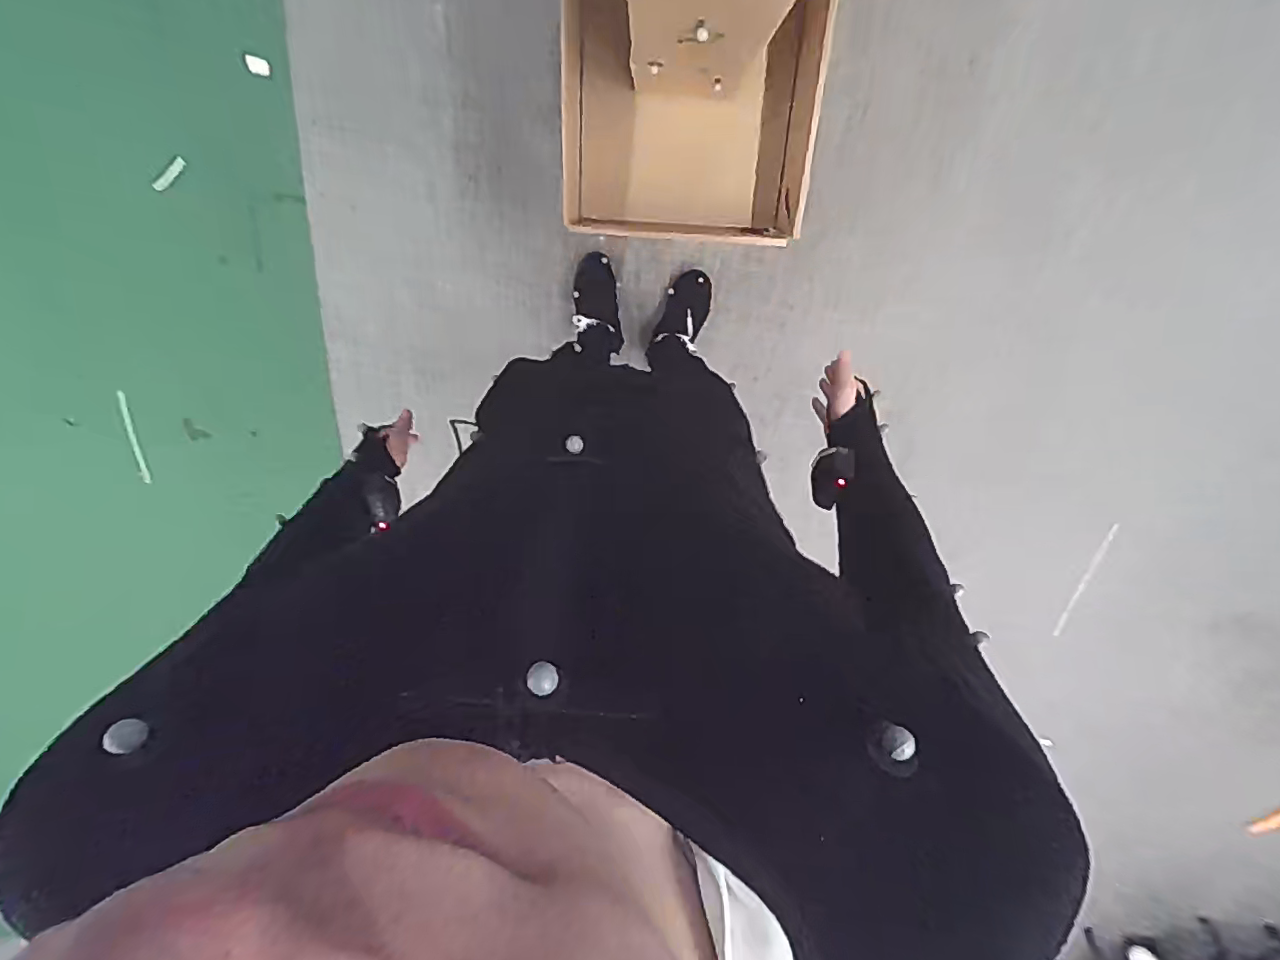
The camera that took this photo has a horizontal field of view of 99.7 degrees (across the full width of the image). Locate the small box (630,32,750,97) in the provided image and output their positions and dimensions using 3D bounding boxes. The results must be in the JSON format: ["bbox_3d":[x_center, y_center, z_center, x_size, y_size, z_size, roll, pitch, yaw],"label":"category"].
[{"bbox_3d":[0.078,-0.705,0.825,0.179,0.176,0.168,3,115,-1],"label":"small box"}]

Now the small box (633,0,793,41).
[{"bbox_3d":[0.076,-0.567,0.526,0.168,0.176,0.179,4,115,-1],"label":"small box"}]

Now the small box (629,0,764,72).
[{"bbox_3d":[0.078,-0.639,0.674,0.168,0.176,0.179,5,114,-2],"label":"small box"}]
